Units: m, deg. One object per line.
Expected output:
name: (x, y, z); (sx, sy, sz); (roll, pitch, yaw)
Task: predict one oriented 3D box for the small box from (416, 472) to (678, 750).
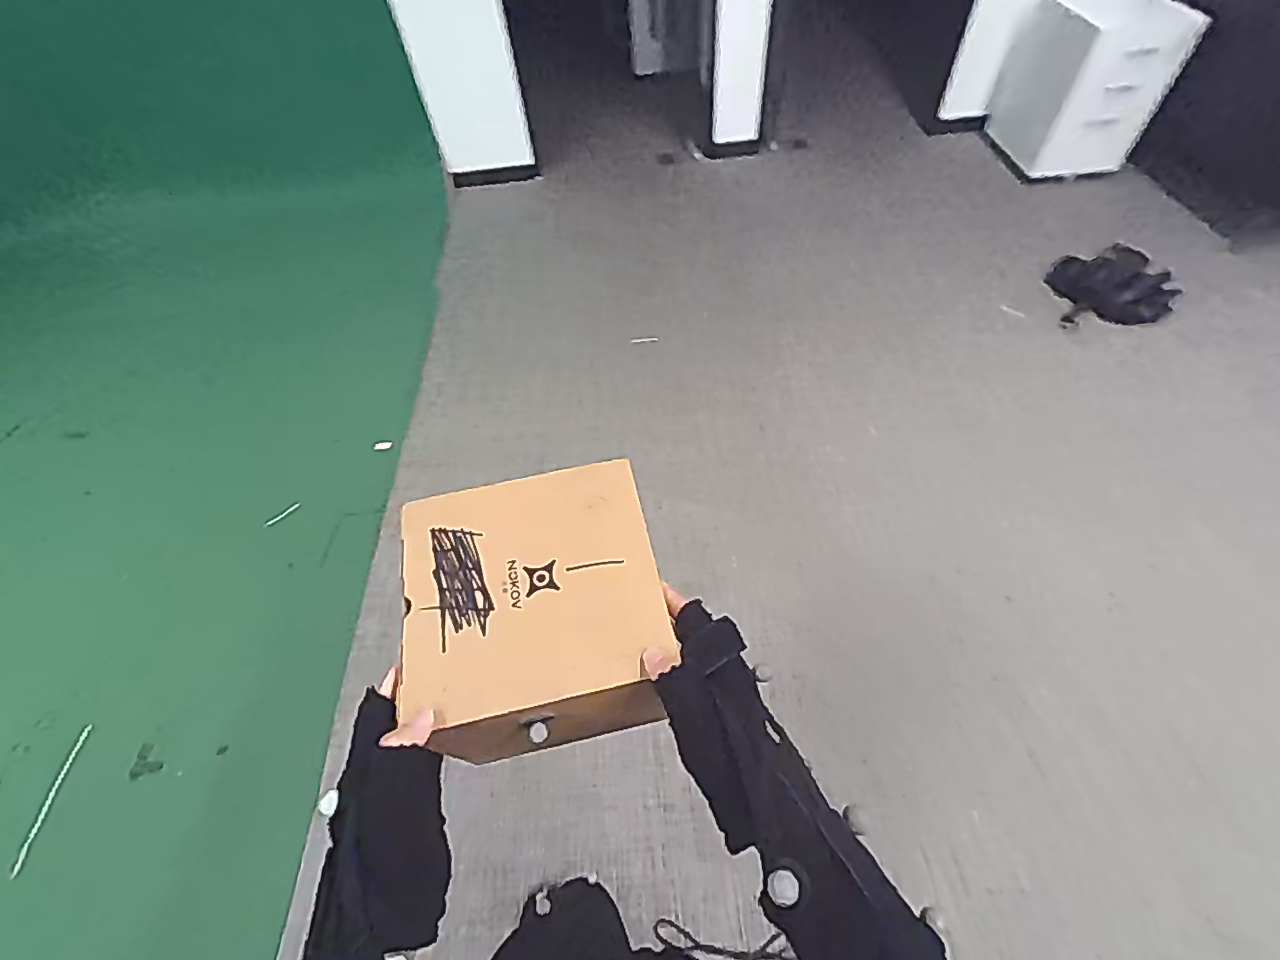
small box: (-0.070, 0.118, 0.459); (0.179, 0.176, 0.168); (-10, 58, -5)
